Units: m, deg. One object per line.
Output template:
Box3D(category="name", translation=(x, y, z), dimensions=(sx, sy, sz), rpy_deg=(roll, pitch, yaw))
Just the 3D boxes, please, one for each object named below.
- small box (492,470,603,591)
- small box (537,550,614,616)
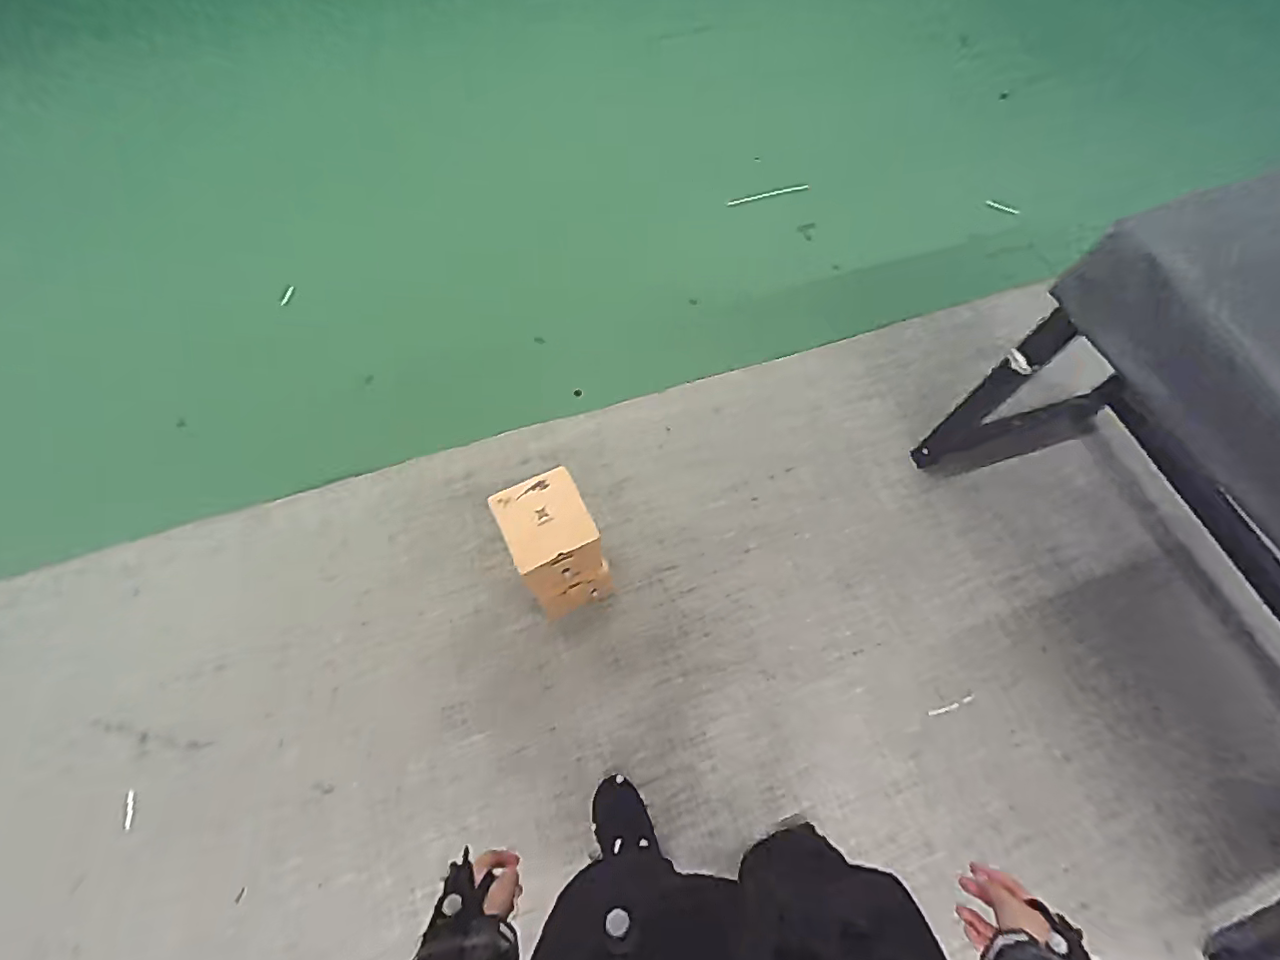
Box3D(category="small box", translation=(-0.180, 0.112, 1.105), dimensions=(0.168, 0.176, 0.179), rpy_deg=(-23, 68, -13))
Box3D(category="small box", translation=(-0.166, 0.198, 1.245), dimensions=(0.168, 0.176, 0.179), rpy_deg=(-22, 66, -12))
